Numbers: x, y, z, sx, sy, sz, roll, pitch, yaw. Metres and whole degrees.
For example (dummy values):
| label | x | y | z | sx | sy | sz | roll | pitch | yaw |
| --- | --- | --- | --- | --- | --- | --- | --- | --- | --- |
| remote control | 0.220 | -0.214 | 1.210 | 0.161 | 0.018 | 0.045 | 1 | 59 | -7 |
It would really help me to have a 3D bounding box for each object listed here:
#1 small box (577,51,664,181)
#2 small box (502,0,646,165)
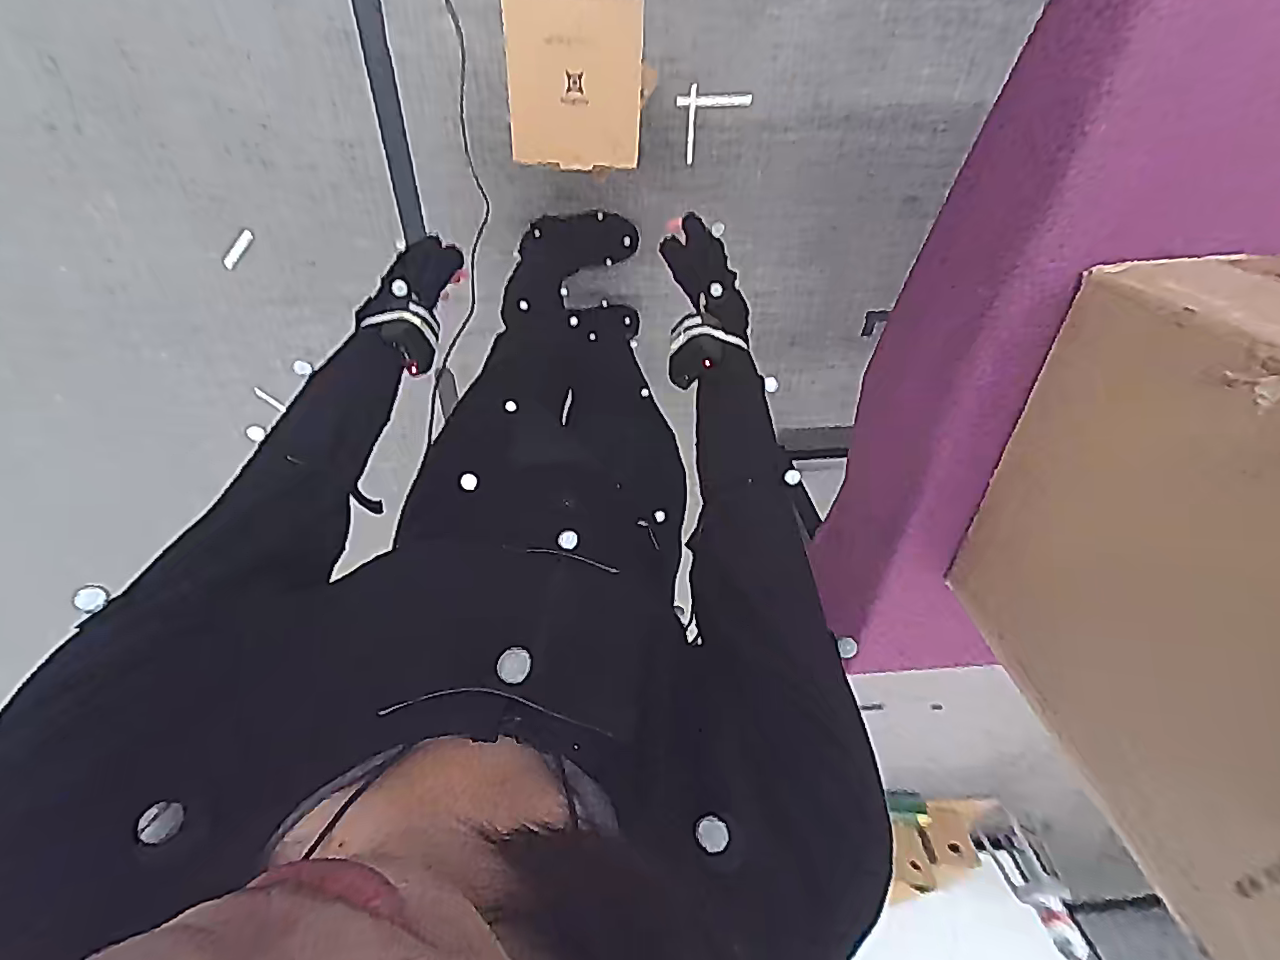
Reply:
| label | x | y | z | sx | sy | sz | roll | pitch | yaw |
| --- | --- | --- | --- | --- | --- | --- | --- | --- | --- |
| small box | -0.085 | -0.619 | 0.858 | 0.168 | 0.176 | 0.179 | 26 | 121 | -23 |
| small box | -0.084 | -0.534 | 0.717 | 0.168 | 0.176 | 0.179 | -1 | 127 | -6 |
